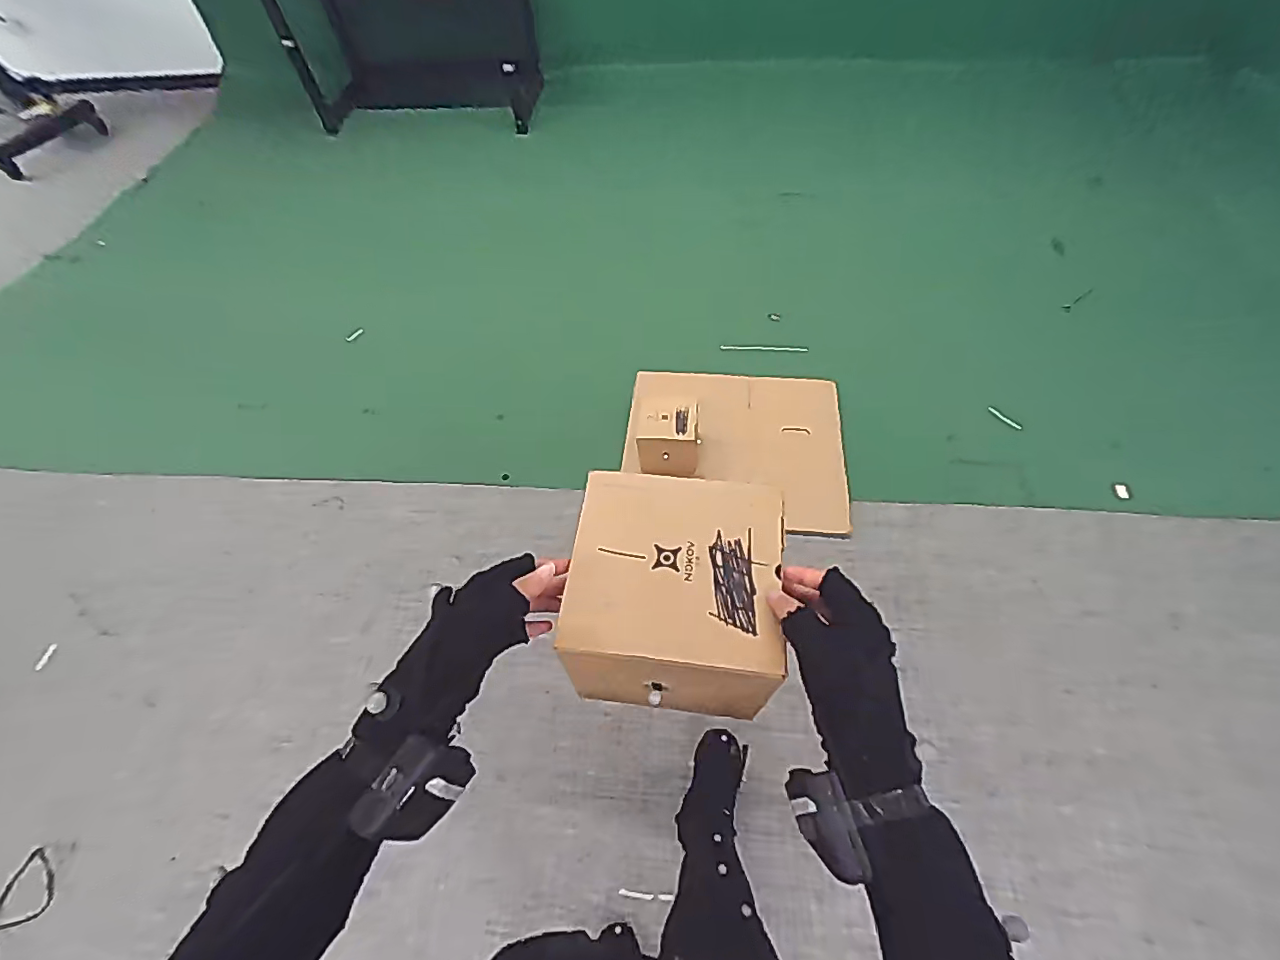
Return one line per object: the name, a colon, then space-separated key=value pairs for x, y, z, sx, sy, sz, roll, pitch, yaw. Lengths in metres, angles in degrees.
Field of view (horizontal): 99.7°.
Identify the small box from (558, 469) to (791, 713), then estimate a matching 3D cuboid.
small box: x=0.037 y=0.111 z=0.509 sx=0.179 sy=0.176 sz=0.168 roll=5 pitch=56 yaw=6
